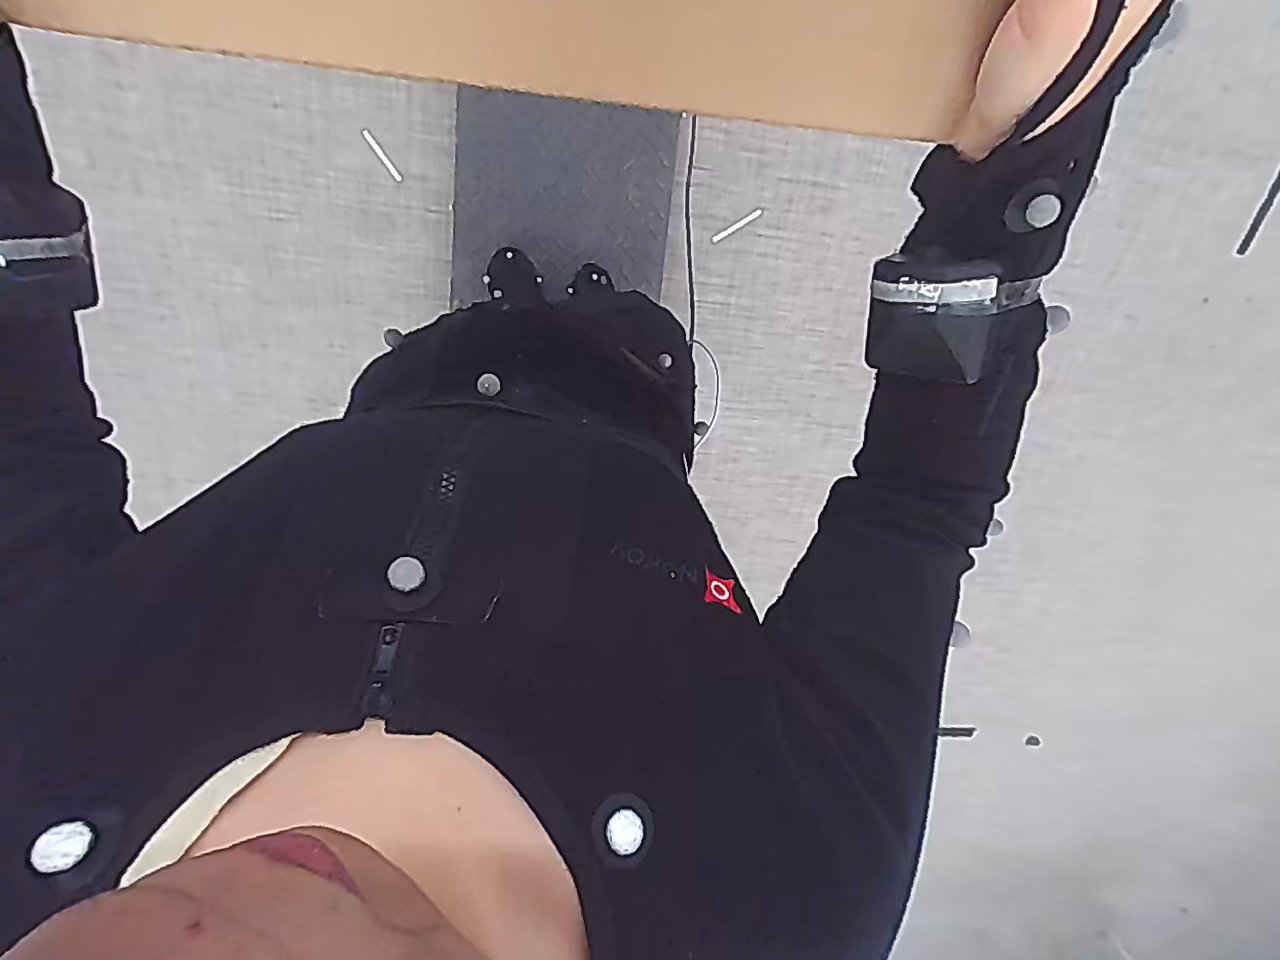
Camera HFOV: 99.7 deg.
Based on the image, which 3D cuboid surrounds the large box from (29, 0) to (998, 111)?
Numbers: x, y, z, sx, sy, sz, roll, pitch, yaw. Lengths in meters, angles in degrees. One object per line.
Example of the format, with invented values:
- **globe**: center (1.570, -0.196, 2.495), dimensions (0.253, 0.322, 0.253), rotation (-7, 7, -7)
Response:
- **large box**: center (-0.043, -0.393, 0.238), dimensions (0.408, 0.320, 0.320), rotation (3, 135, -6)
